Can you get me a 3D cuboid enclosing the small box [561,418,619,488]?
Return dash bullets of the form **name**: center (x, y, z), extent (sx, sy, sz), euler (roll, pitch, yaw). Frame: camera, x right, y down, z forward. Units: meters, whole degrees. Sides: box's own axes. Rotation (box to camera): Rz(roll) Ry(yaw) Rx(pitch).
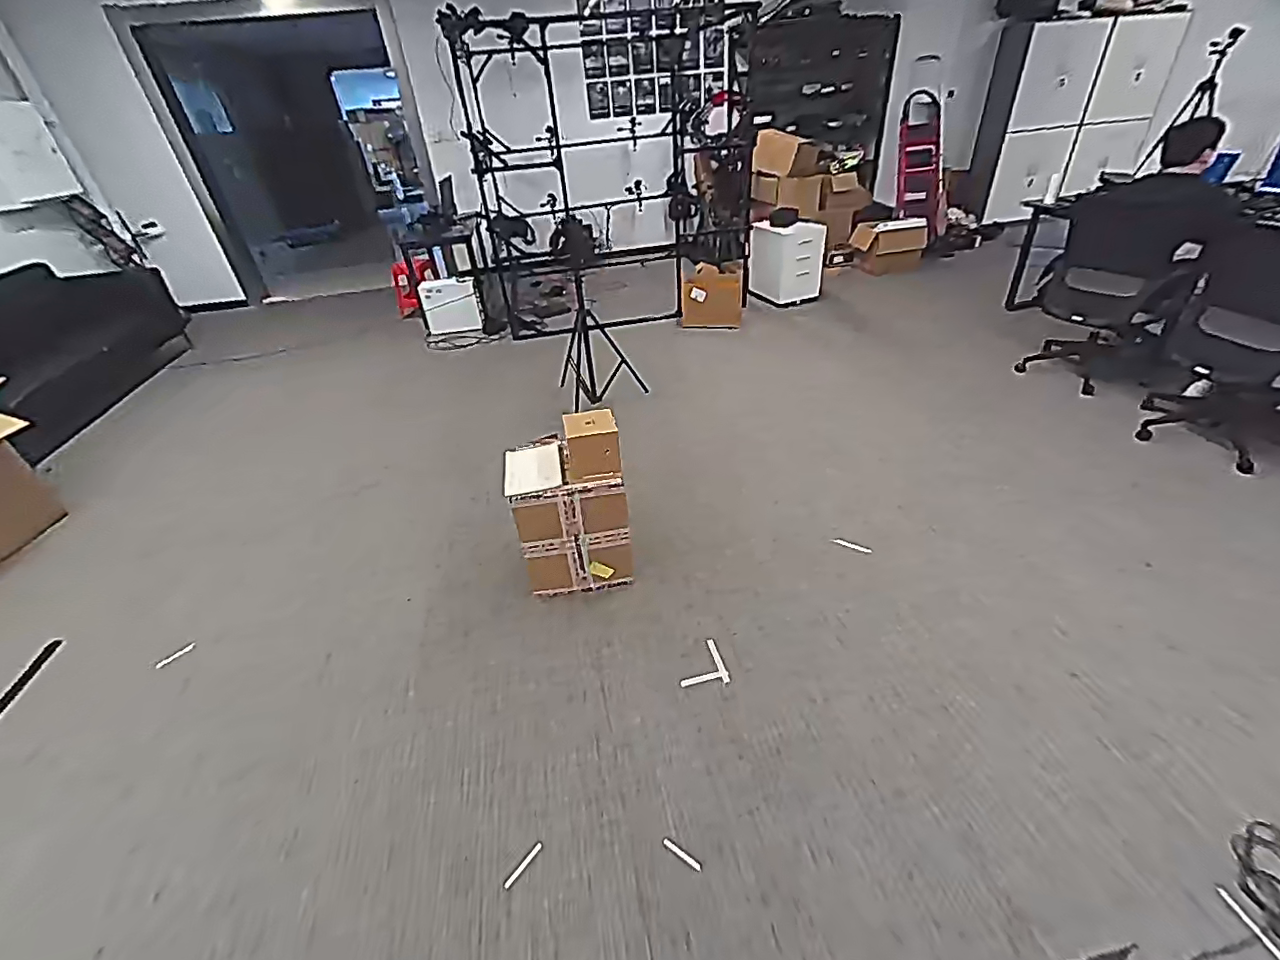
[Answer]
- **small box**: center (-0.173, -0.094, 1.879), extent (0.179, 0.176, 0.168), euler (-10, 36, -8)
